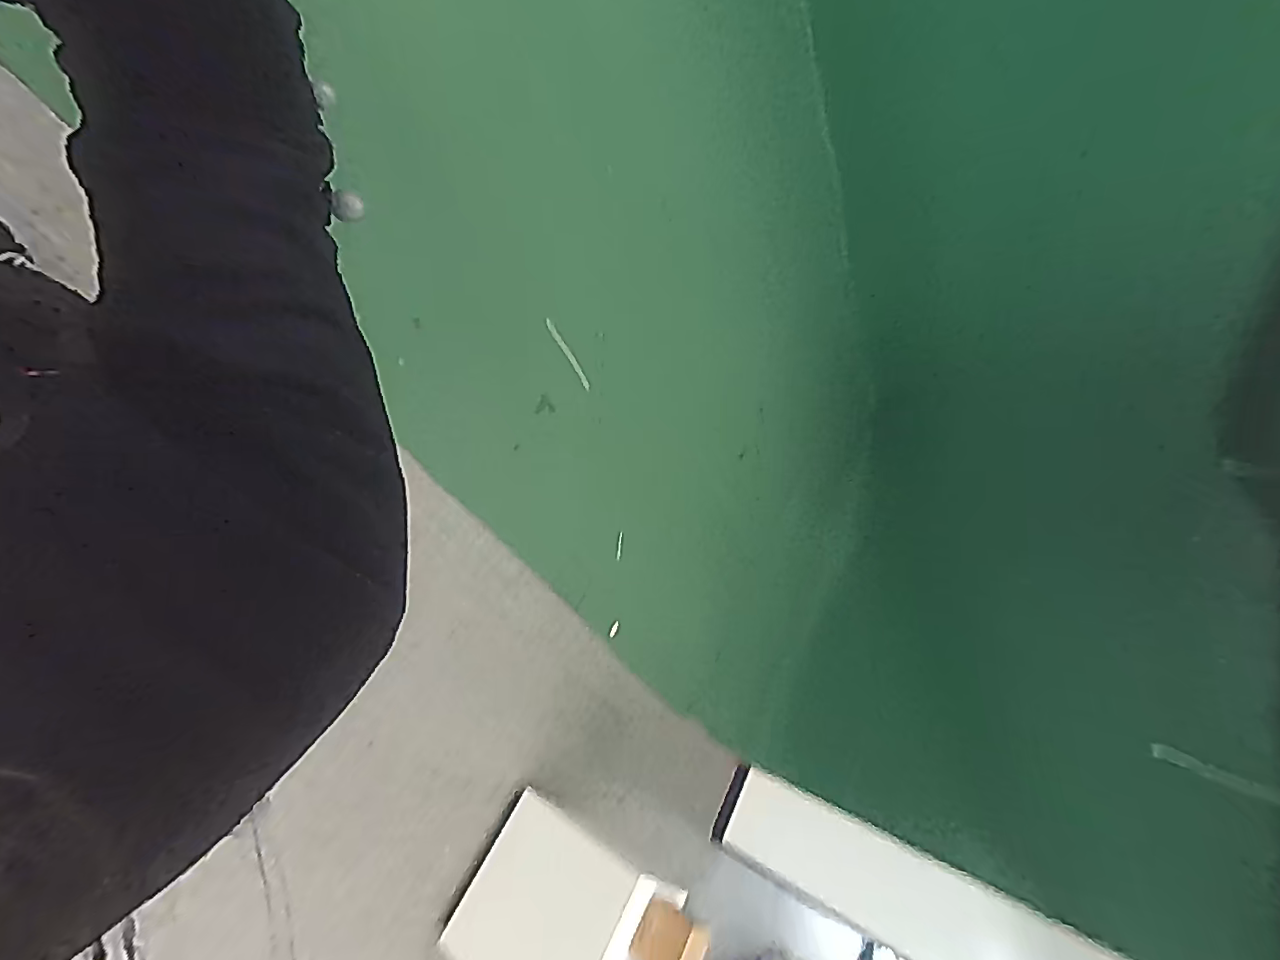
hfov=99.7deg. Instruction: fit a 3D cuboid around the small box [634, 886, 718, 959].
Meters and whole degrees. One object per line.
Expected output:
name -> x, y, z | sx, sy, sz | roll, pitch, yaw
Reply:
small box -> 0.112, 1.420, 1.702 | 0.168, 0.176, 0.179 | -59, 134, -24
